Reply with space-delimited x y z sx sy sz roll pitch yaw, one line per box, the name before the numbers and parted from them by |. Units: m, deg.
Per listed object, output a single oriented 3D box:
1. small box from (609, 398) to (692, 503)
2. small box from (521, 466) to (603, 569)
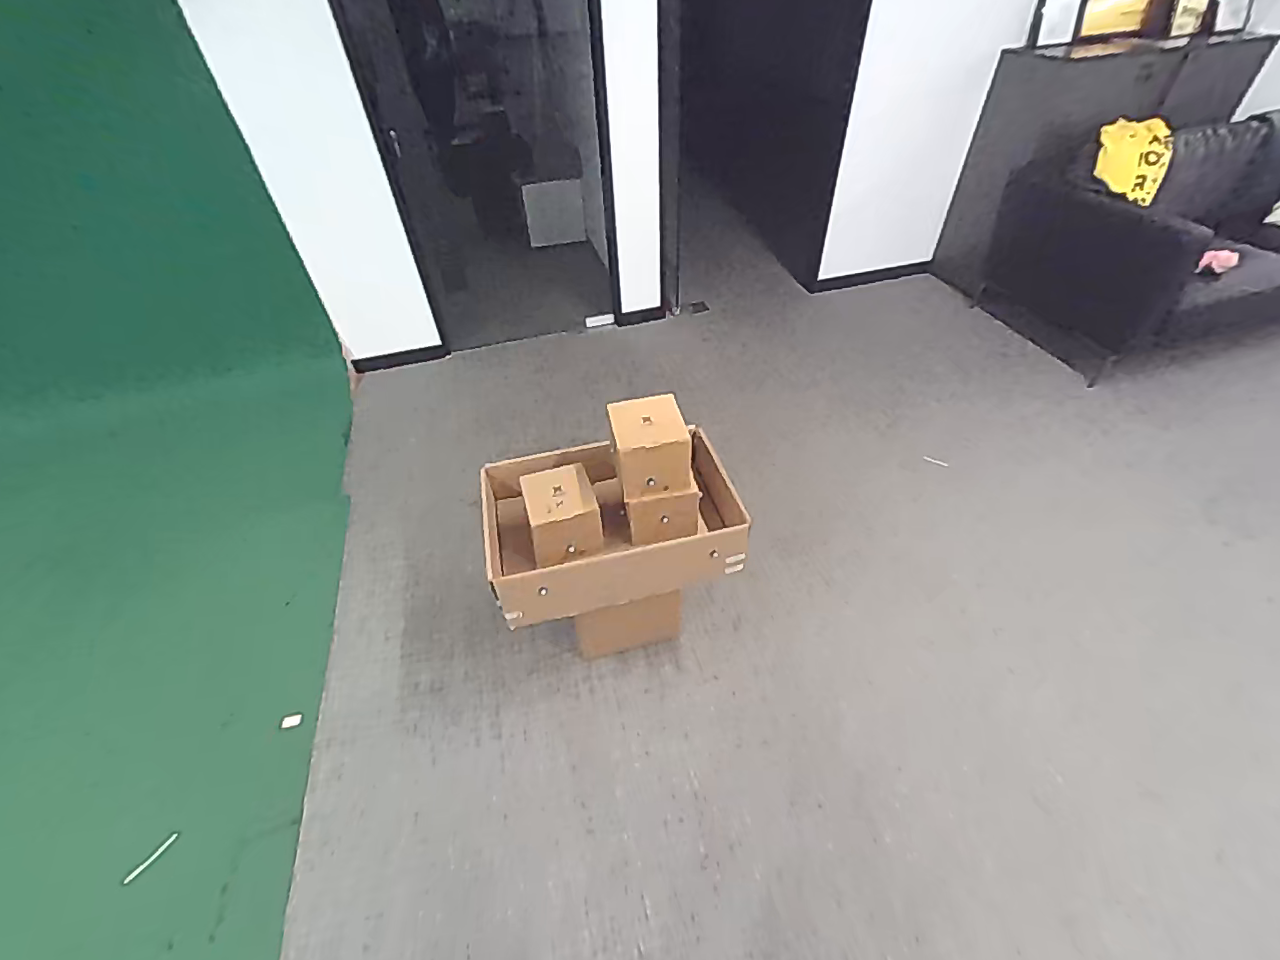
small box | 0.021 -0.070 1.300 0.168 0.176 0.179 -10 44 -6
small box | -0.196 0.095 1.371 0.168 0.176 0.179 -14 45 -12
